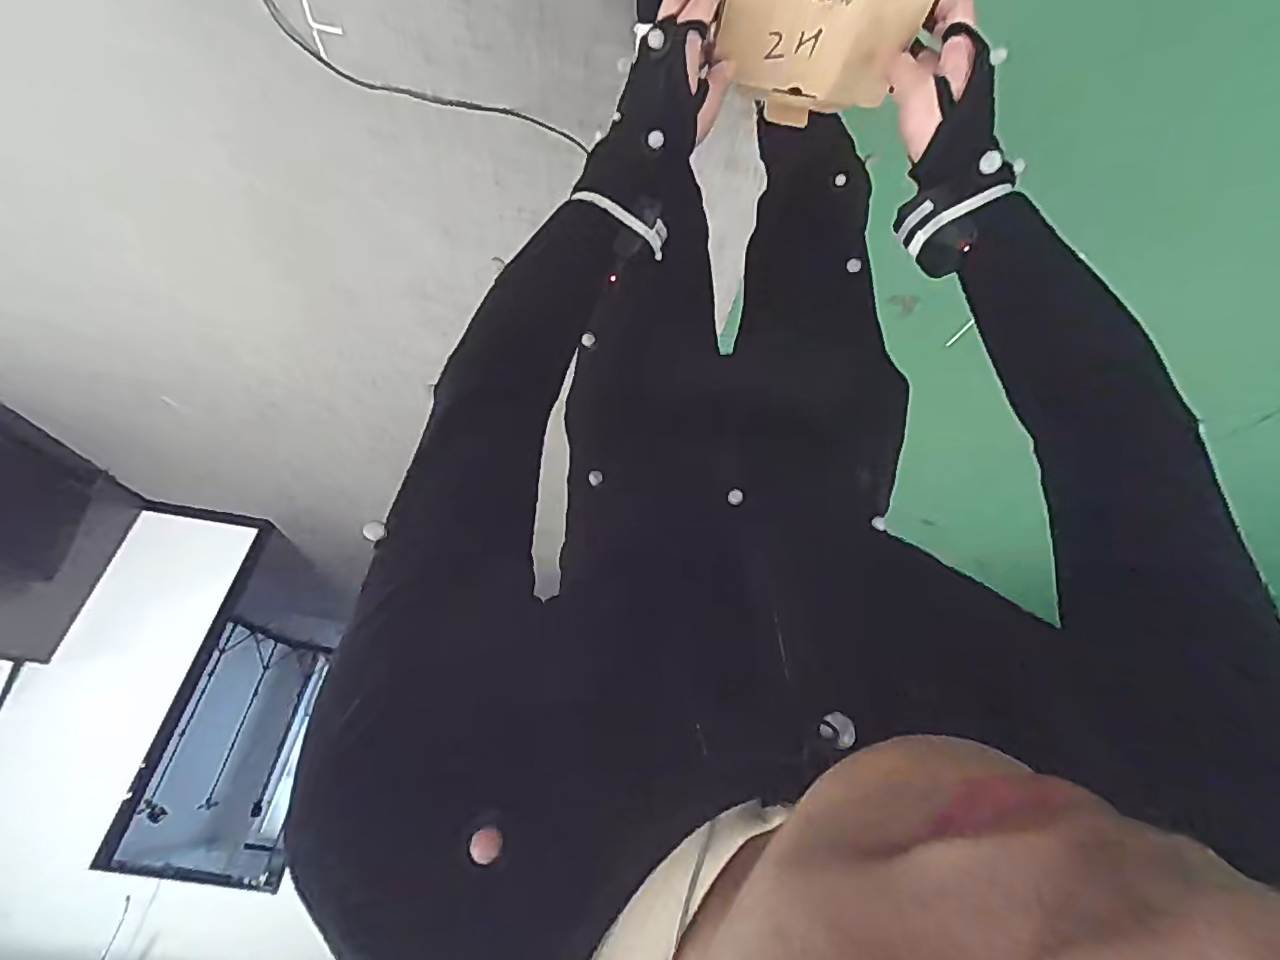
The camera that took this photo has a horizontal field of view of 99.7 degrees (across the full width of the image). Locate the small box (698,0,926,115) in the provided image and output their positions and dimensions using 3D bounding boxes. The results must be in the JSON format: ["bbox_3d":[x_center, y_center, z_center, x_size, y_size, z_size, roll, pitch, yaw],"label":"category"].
[{"bbox_3d":[0.159,-0.470,0.459,0.168,0.176,0.179,13,156,-9],"label":"small box"}]
